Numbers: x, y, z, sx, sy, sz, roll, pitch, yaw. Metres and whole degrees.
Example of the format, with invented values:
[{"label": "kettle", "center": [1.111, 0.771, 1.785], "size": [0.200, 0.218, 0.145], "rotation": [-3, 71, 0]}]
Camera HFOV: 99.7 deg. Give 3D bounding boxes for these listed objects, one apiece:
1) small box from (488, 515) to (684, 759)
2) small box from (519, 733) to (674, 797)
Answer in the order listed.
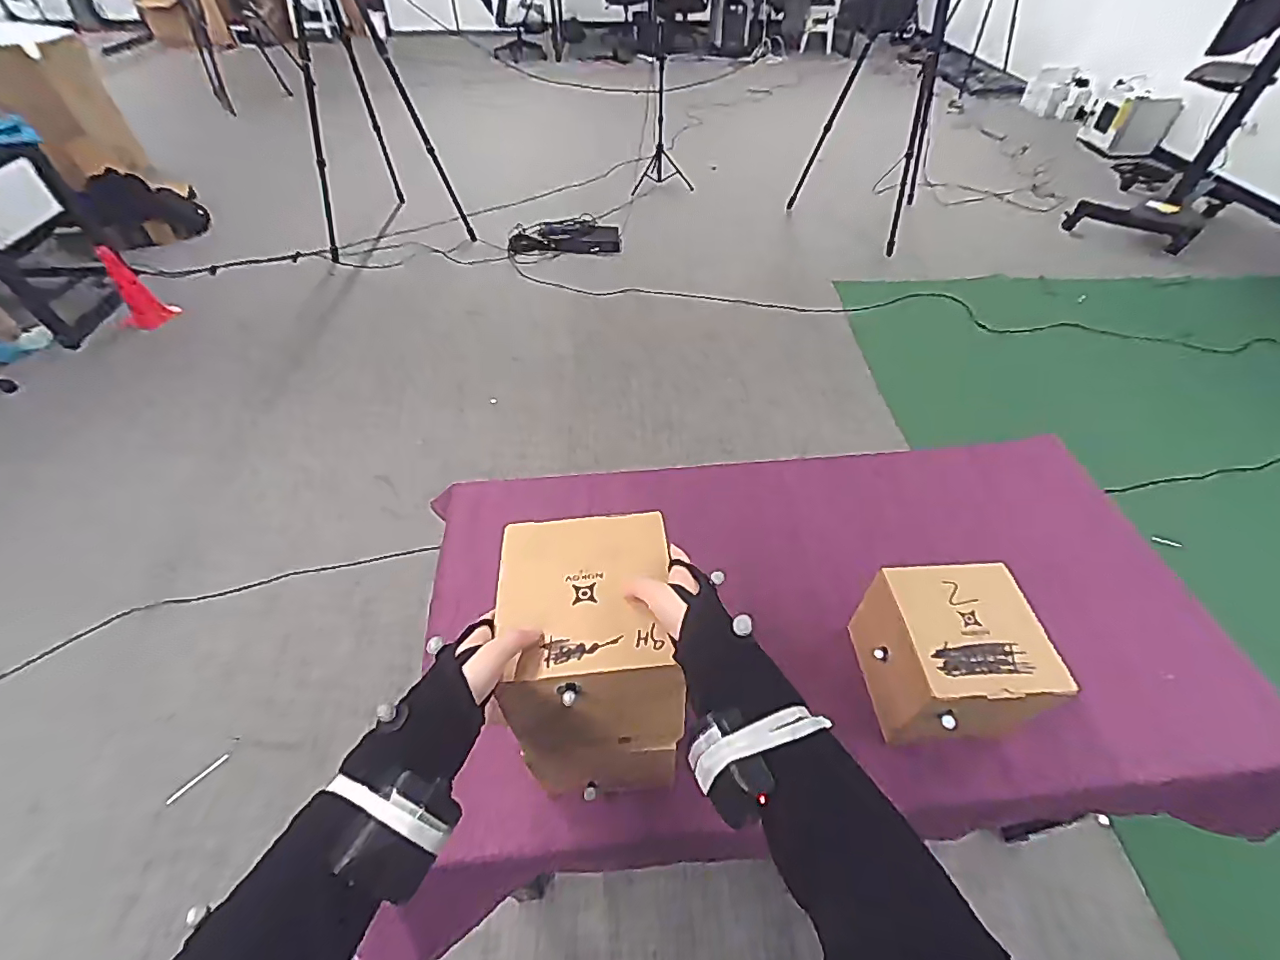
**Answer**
[{"label": "small box", "center": [-0.048, 0.161, 0.562], "size": [0.168, 0.176, 0.179], "rotation": [-6, 43, -1]}, {"label": "small box", "center": [-0.047, 0.279, 0.682], "size": [0.168, 0.176, 0.179], "rotation": [-2, 47, 0]}]
